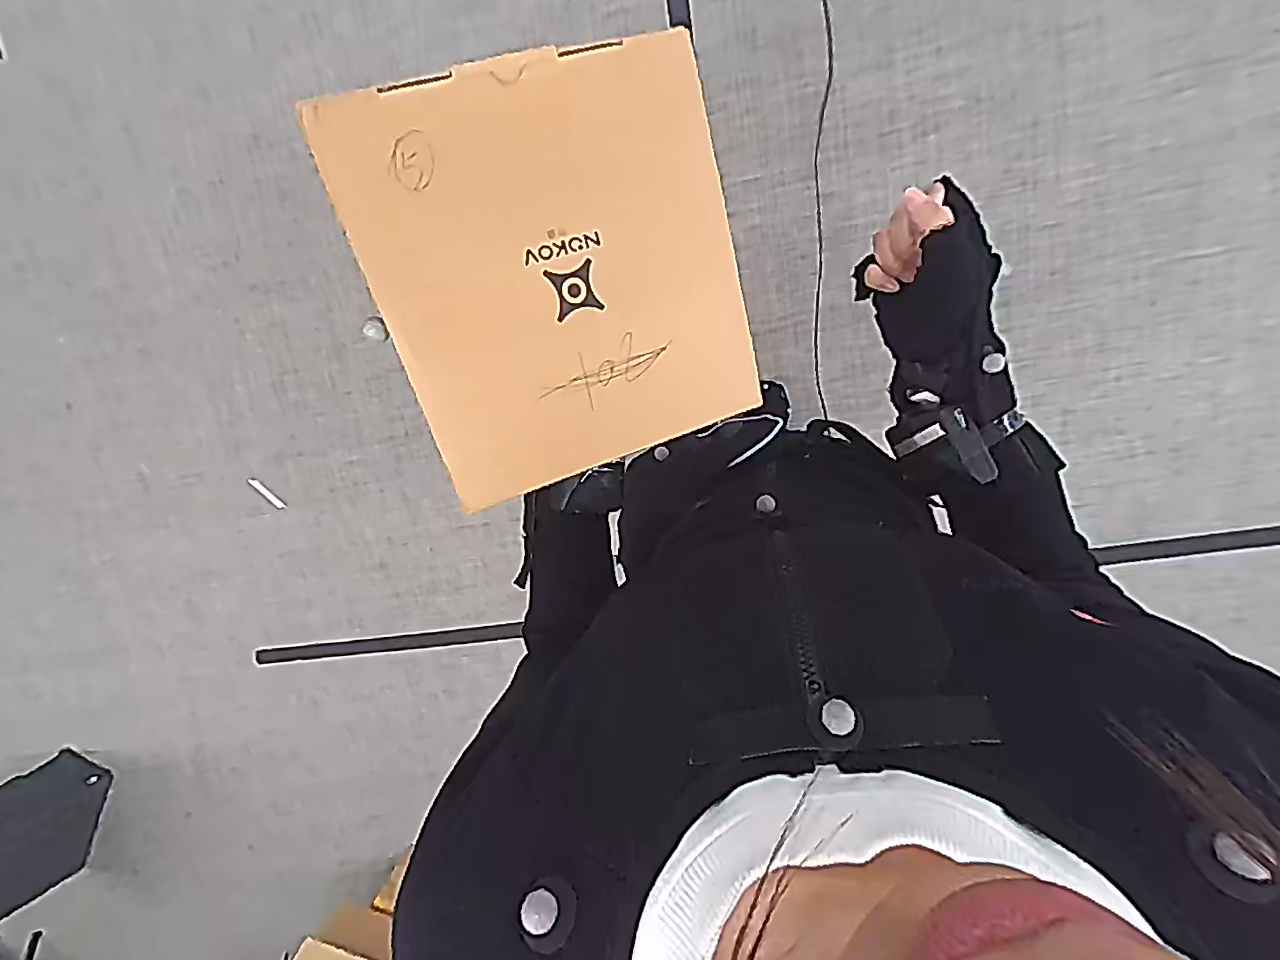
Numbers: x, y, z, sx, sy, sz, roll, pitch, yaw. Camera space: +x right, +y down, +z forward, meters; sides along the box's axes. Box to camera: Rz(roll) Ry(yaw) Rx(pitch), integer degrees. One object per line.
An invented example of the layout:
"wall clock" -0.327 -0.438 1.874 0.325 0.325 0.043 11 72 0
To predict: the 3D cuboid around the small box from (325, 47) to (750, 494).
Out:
"small box" -0.058 -0.115 0.334 0.168 0.176 0.179 -20 110 -12
